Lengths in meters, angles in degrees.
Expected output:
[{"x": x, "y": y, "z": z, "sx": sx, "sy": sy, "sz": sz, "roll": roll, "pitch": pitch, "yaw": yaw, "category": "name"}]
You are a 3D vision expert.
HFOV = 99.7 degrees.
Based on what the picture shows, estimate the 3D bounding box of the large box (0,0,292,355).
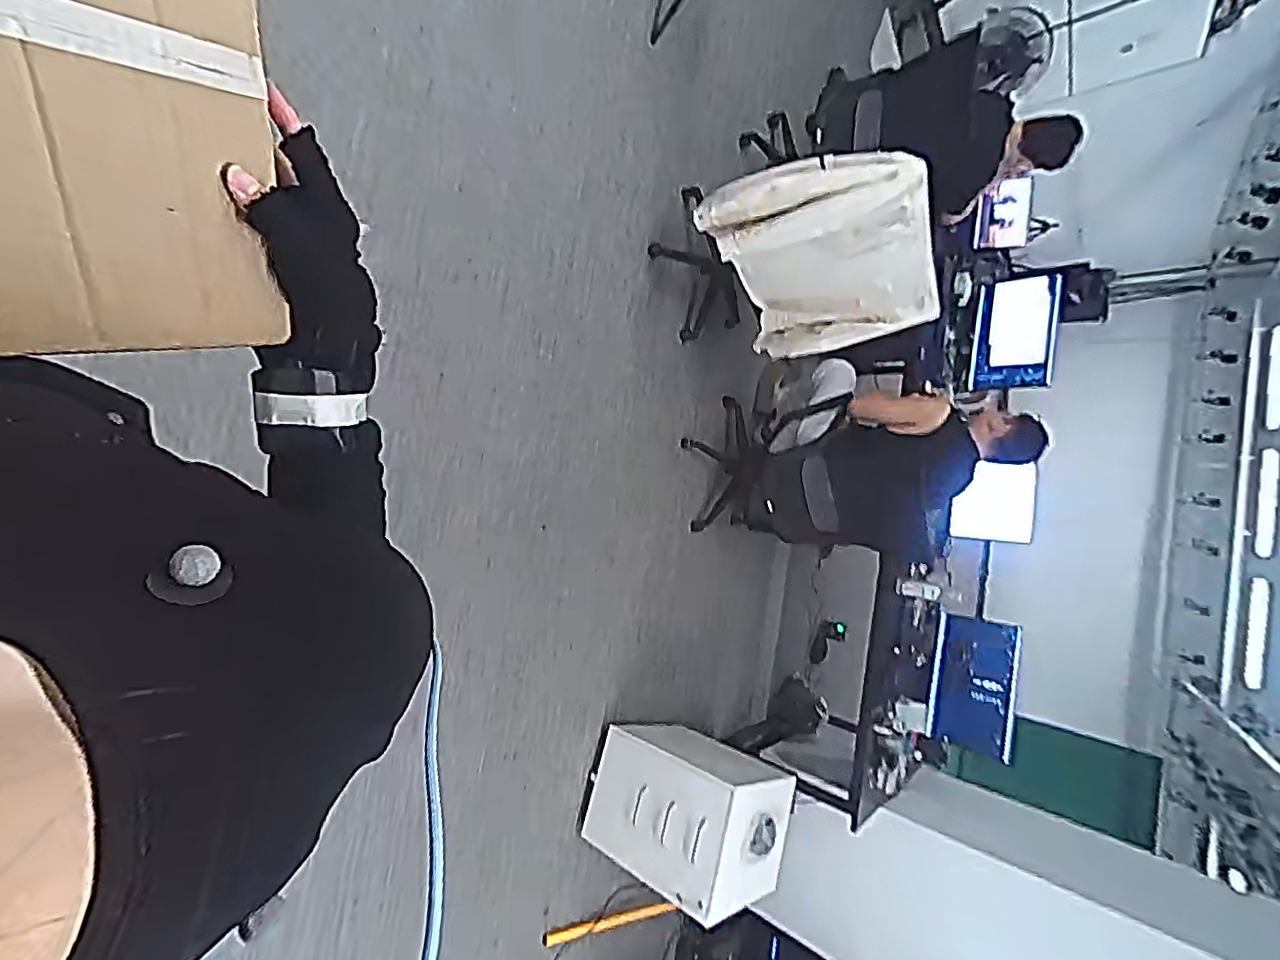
[{"x": -0.470, "y": -0.246, "z": 0.266, "sx": 0.408, "sy": 0.320, "sz": 0.320, "roll": -20, "pitch": 129, "yaw": -47, "category": "large box"}]
